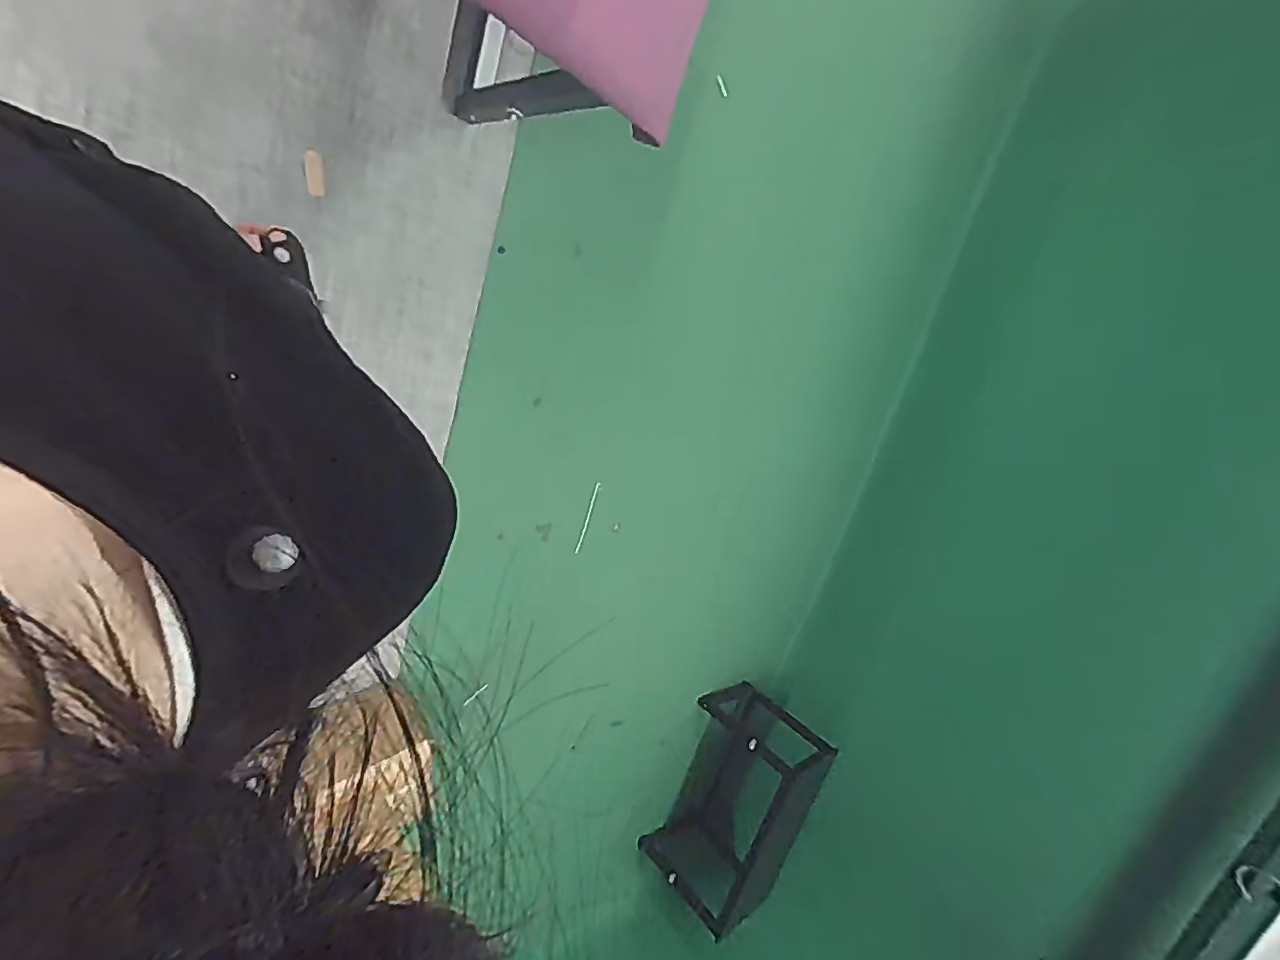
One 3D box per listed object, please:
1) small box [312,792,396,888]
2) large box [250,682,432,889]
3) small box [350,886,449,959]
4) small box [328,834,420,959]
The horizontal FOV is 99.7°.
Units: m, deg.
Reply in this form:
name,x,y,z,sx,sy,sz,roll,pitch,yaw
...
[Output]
name,x,y,z,sx,sy,sz,roll,pitch,yaw
small box,-0.777,0.992,1.473,0.168,0.176,0.179,-13,120,-40
large box,-0.909,0.909,1.666,0.408,0.320,0.320,-15,122,-41
small box,-0.561,1.116,1.259,0.179,0.176,0.168,-13,120,-39
small box,-0.672,1.055,1.365,0.179,0.176,0.168,-15,121,-40
